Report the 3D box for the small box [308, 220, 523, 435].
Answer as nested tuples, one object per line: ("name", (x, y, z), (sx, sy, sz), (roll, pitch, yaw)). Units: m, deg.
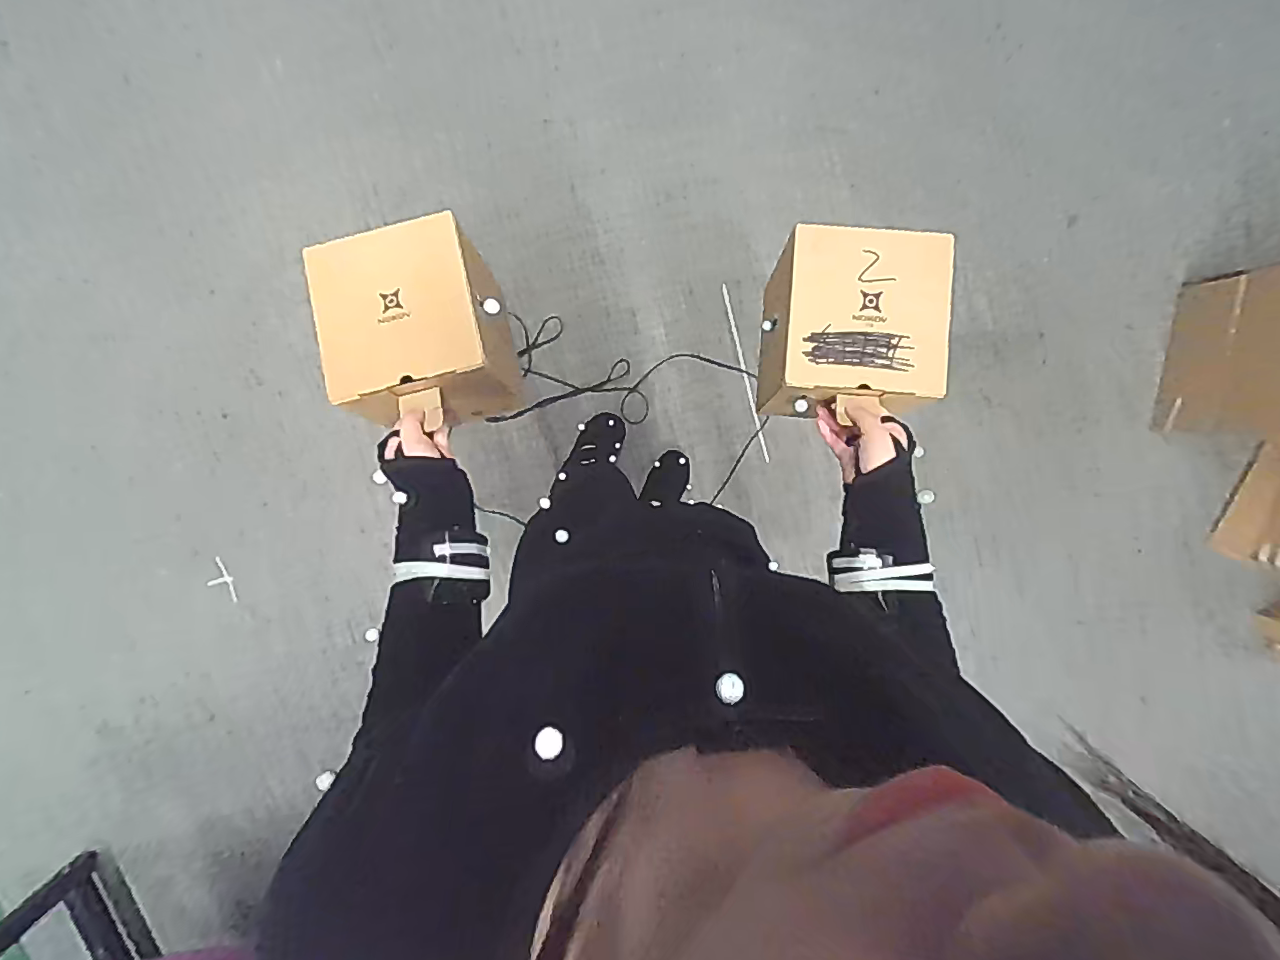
("small box", (-0.253, -0.167, 0.644), (0.168, 0.176, 0.179), (-14, 83, 2))
